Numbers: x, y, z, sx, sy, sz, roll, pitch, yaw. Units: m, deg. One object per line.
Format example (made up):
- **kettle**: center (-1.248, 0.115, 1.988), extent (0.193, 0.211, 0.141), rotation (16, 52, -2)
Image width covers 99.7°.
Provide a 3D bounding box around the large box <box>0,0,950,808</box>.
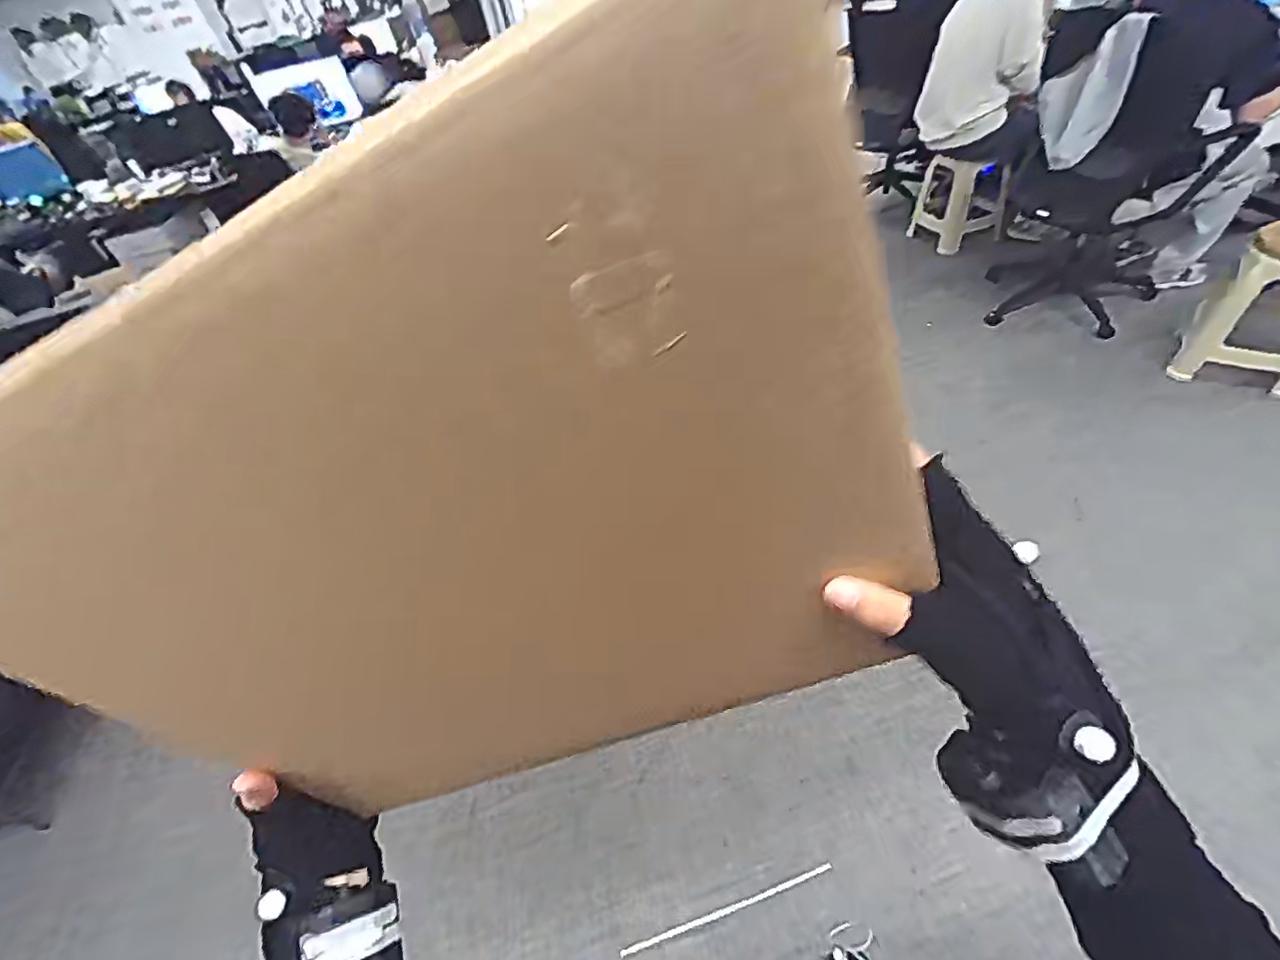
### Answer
- **large box**: center (-0.078, -0.041, 0.362), extent (0.408, 0.320, 0.320), rotation (-22, 39, 11)
